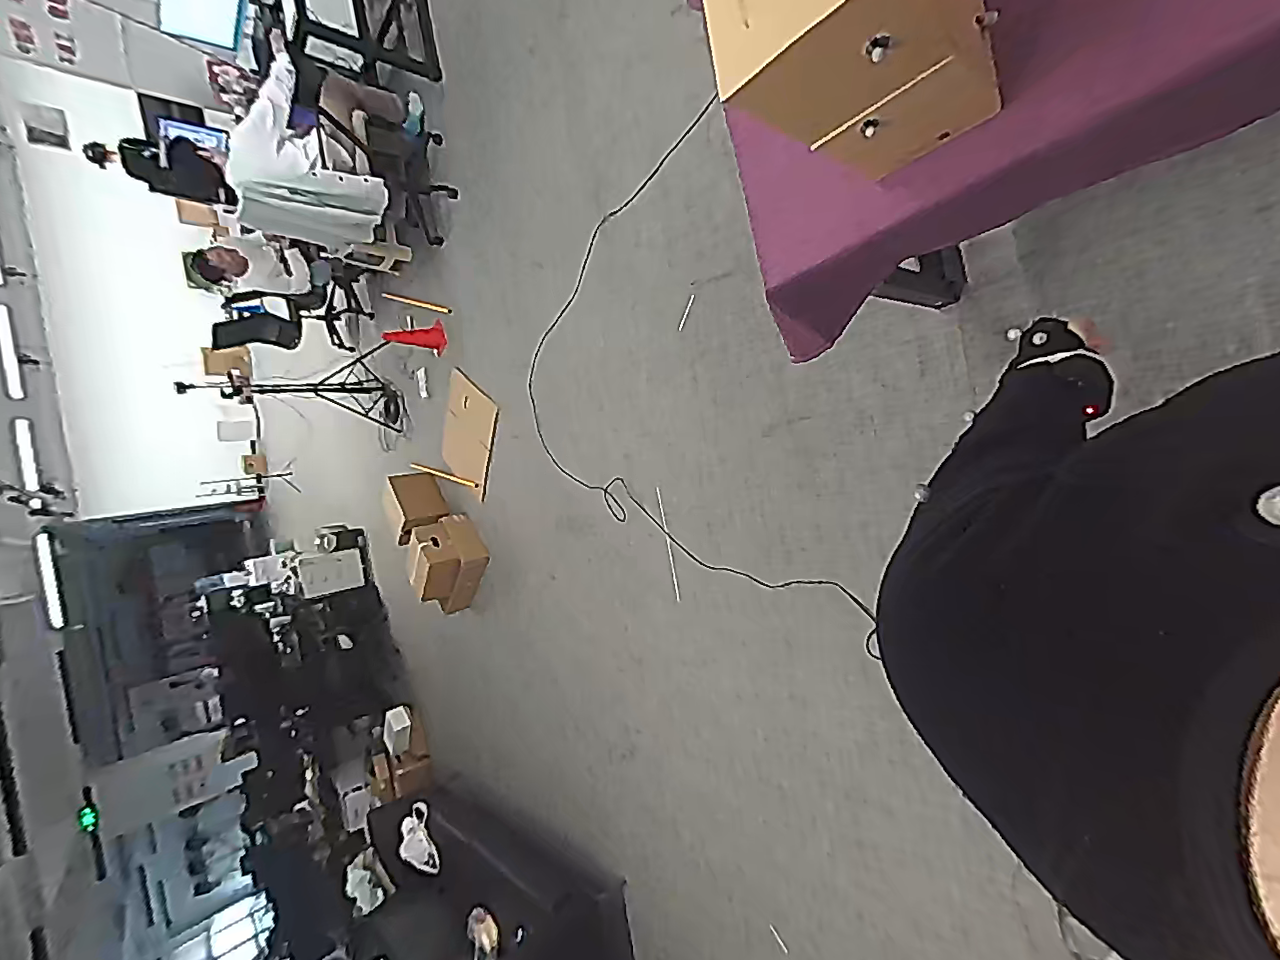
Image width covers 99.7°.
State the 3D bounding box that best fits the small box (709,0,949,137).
[{"bbox_3d":[0.191,-0.494,0.549,0.179,0.176,0.168,-9,91,49],"label":"small box"}]

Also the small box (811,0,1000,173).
[{"bbox_3d":[0.311,-0.515,0.658,0.168,0.176,0.179,-10,89,49],"label":"small box"}]
